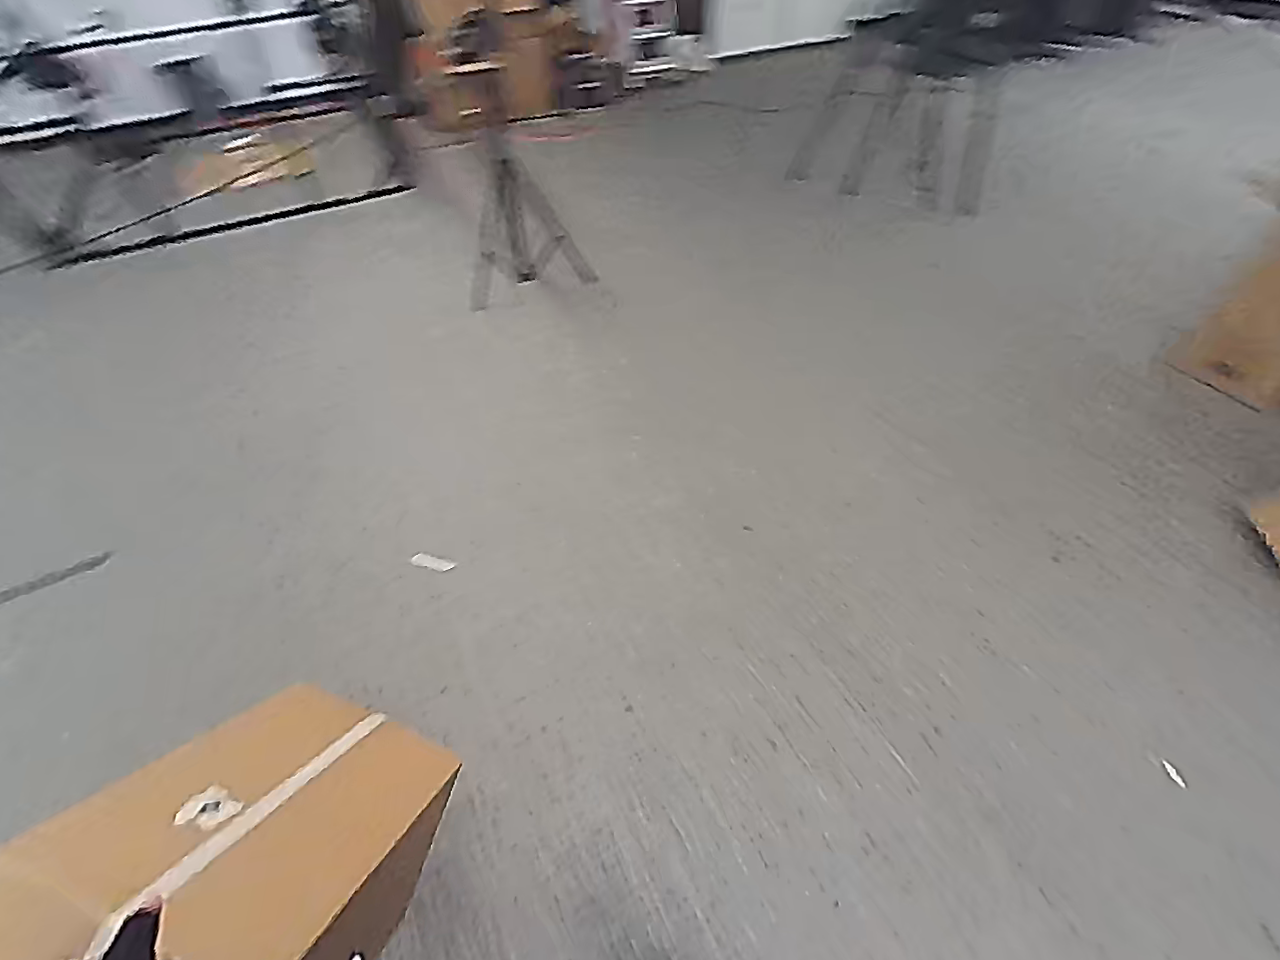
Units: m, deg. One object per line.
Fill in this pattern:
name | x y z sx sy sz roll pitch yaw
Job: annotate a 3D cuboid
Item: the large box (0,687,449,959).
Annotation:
large box | -0.529 0.559 0.720 0.320 0.320 0.408 22 7 7
